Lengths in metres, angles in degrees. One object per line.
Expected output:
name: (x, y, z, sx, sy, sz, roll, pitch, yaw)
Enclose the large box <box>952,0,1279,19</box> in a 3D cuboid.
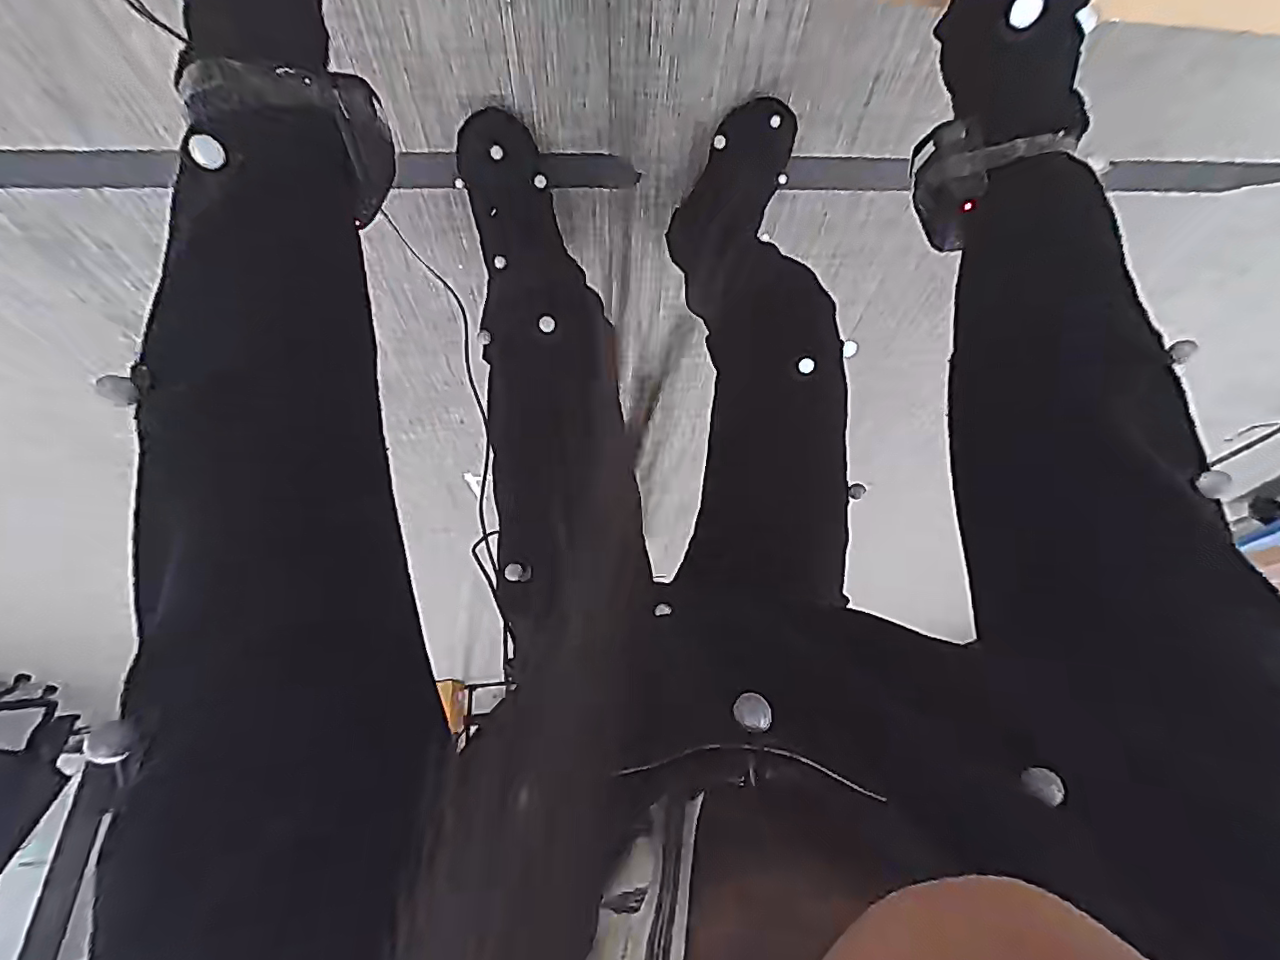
large box: (0.343, -0.544, 0.328, 0.408, 0.320, 0.320, -3, 153, -8)
